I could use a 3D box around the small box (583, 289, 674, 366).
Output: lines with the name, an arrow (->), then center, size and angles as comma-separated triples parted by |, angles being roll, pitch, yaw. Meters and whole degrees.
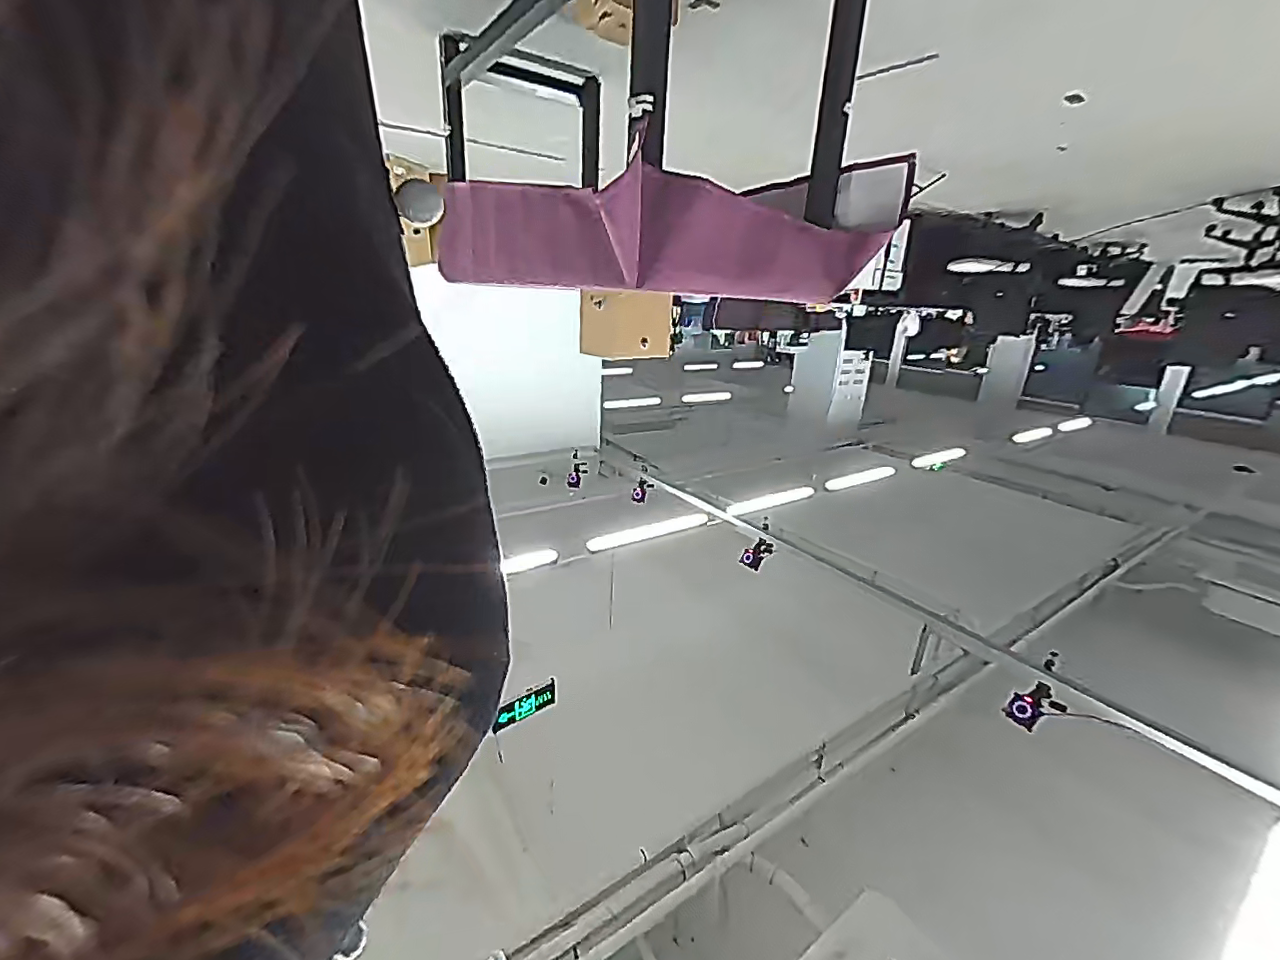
small box -> -0.028, -0.387, 1.363 | 0.179, 0.176, 0.168 | -11, -157, -34
